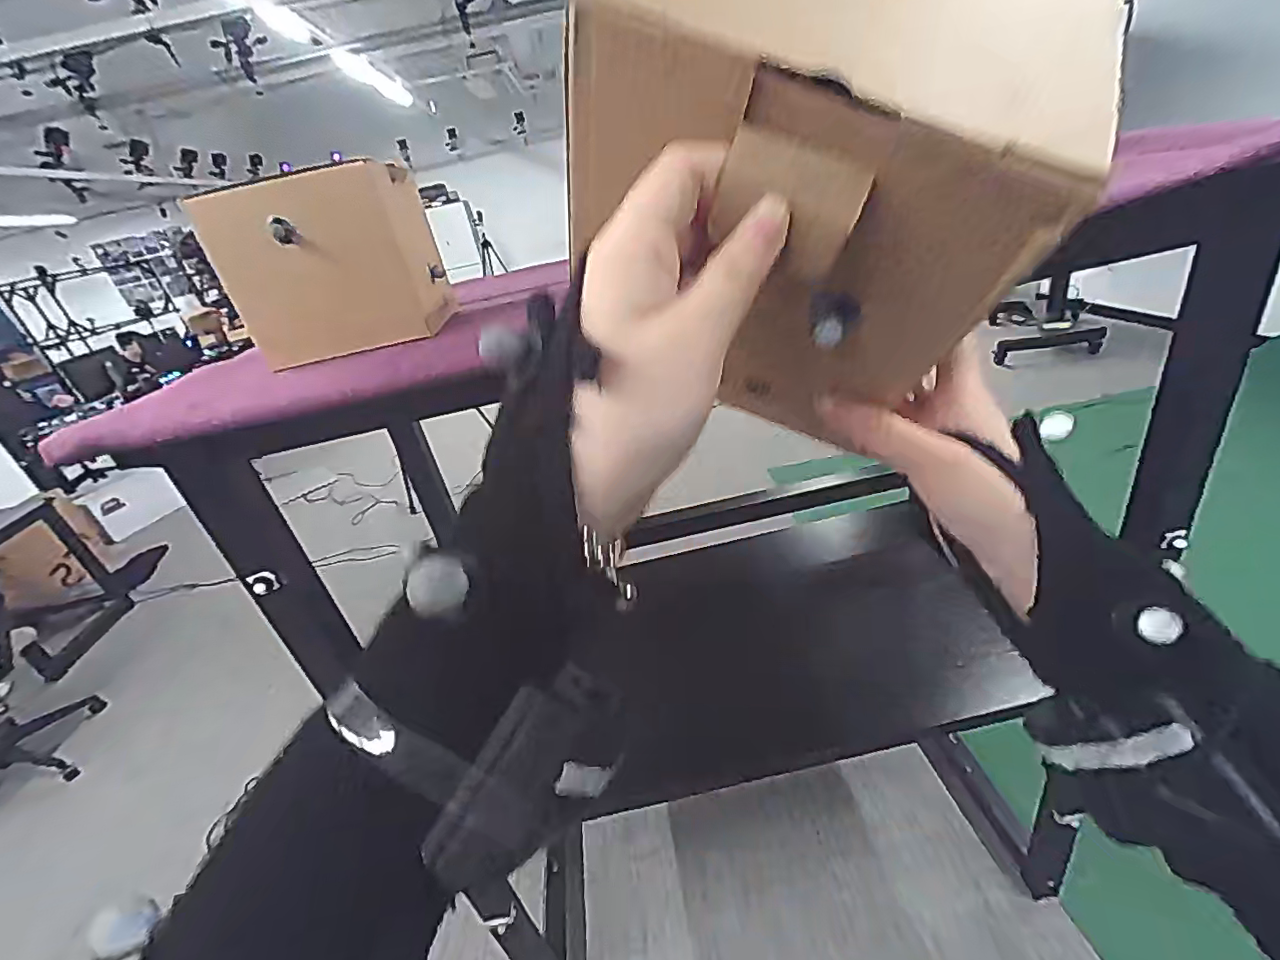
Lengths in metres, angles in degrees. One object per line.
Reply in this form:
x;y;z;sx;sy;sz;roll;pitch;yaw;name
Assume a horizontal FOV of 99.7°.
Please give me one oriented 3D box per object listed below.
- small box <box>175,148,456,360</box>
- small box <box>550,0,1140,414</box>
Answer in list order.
-0.325;-0.241;0.588;0.179;0.176;0.168;-13;29;-1;small box
0.073;-0.159;0.249;0.168;0.176;0.179;22;66;2;small box
